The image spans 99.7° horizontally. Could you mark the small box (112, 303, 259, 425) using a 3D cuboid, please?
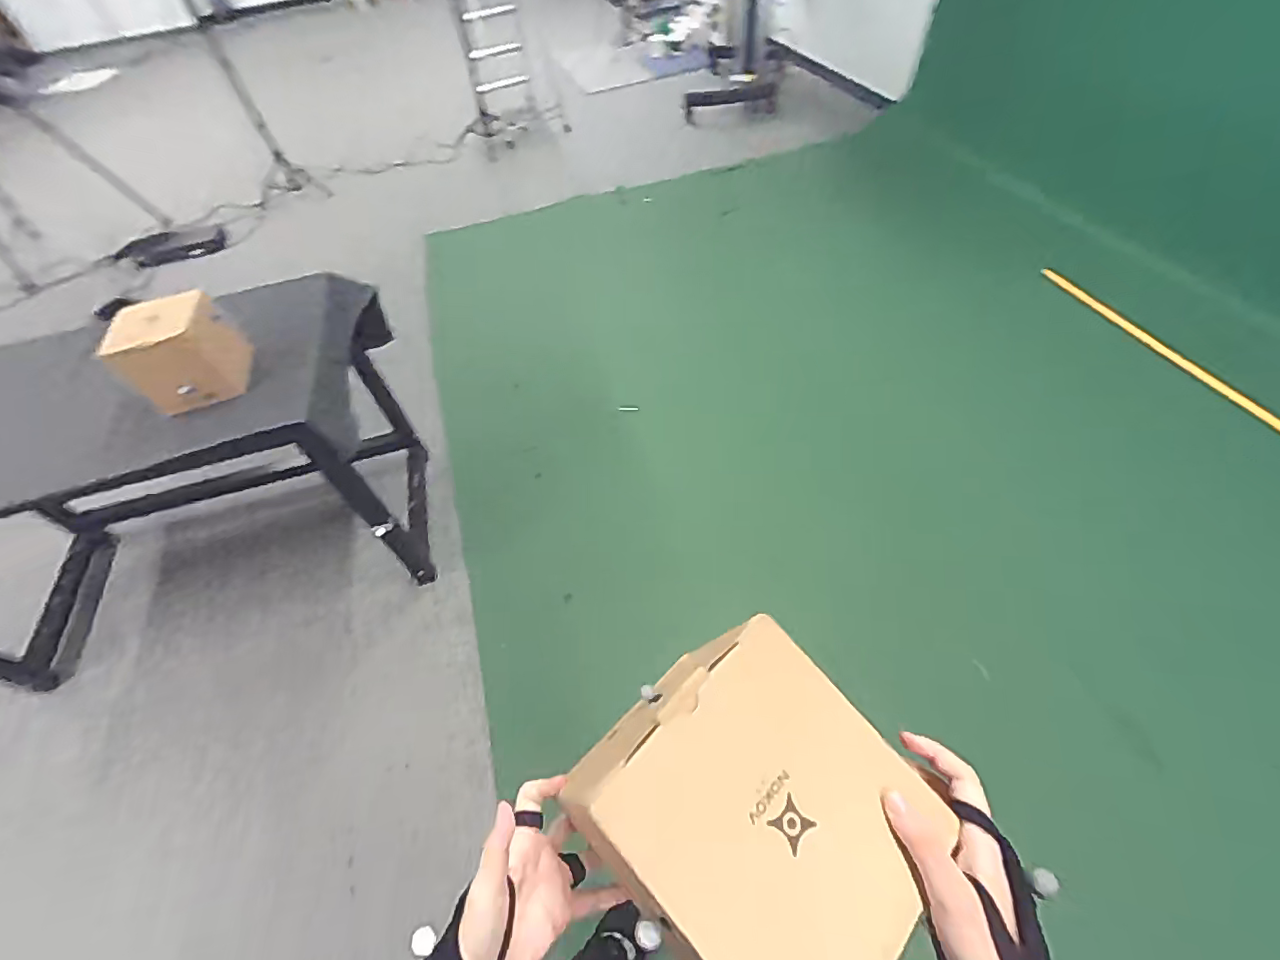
[{"bbox_3d":[-0.967,-0.249,1.172,0.168,0.176,0.179,-19,52,-6],"label":"small box"}]
